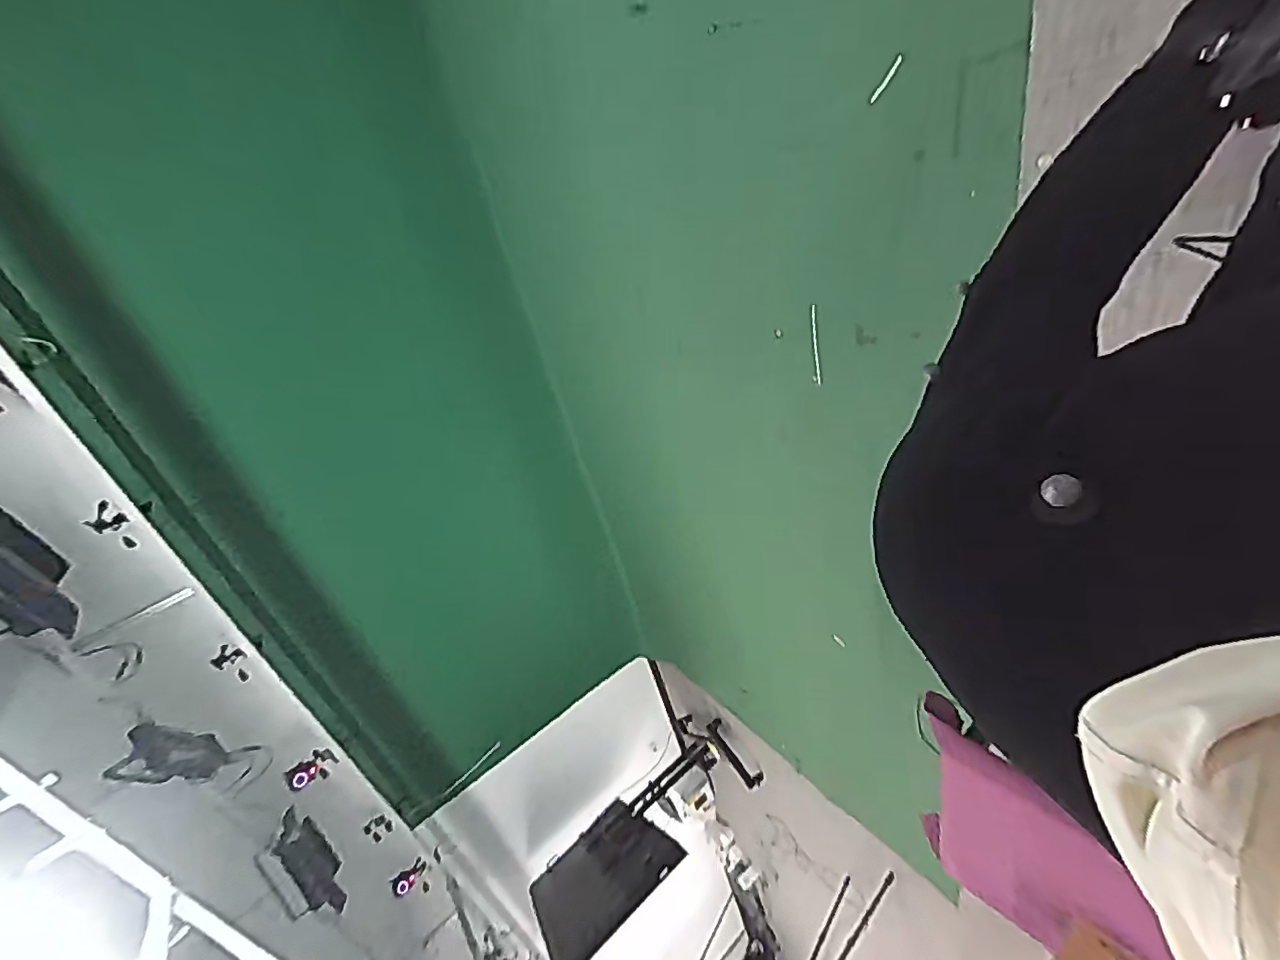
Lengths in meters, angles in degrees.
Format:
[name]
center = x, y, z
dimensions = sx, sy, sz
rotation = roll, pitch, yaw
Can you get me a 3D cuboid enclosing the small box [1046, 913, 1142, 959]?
[small box]
center = 1.062, 1.177, 1.256
dimensions = 0.168, 0.176, 0.179
rotation = 21, 134, 51
